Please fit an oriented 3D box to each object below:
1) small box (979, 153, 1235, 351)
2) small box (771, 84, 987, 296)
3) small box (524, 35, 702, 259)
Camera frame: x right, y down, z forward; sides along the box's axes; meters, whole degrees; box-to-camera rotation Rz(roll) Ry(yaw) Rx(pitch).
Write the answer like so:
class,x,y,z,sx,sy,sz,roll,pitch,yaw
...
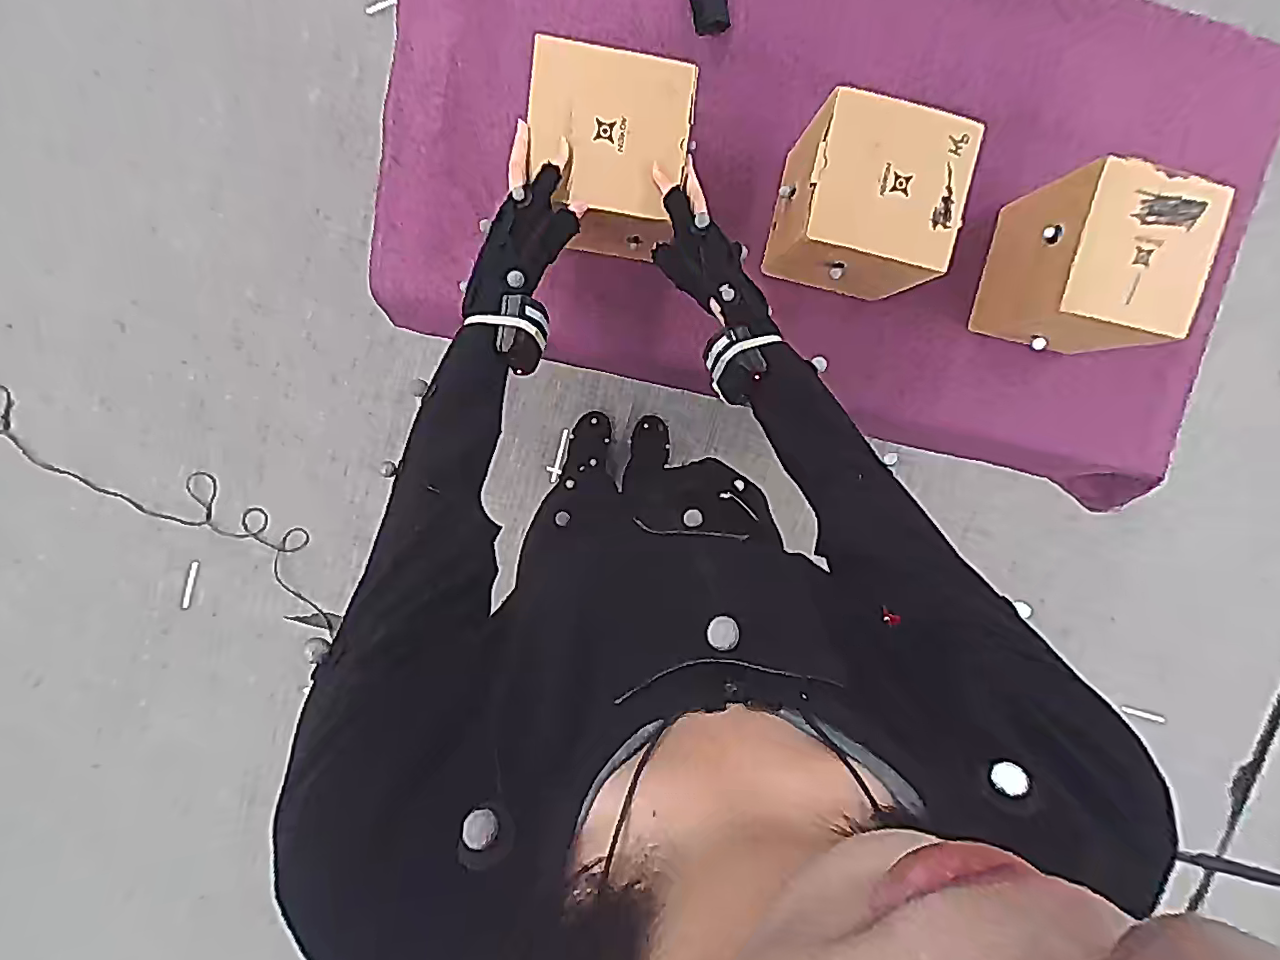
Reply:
class,x,y,z,sx,sy,sz,roll,pitch,yaw
small box,0.583,-0.278,0.702,0.168,0.176,0.179,12,96,-4
small box,0.281,-0.344,0.679,0.179,0.176,0.168,12,96,-4
small box,-0.033,-0.382,0.657,0.179,0.176,0.168,7,95,-3
